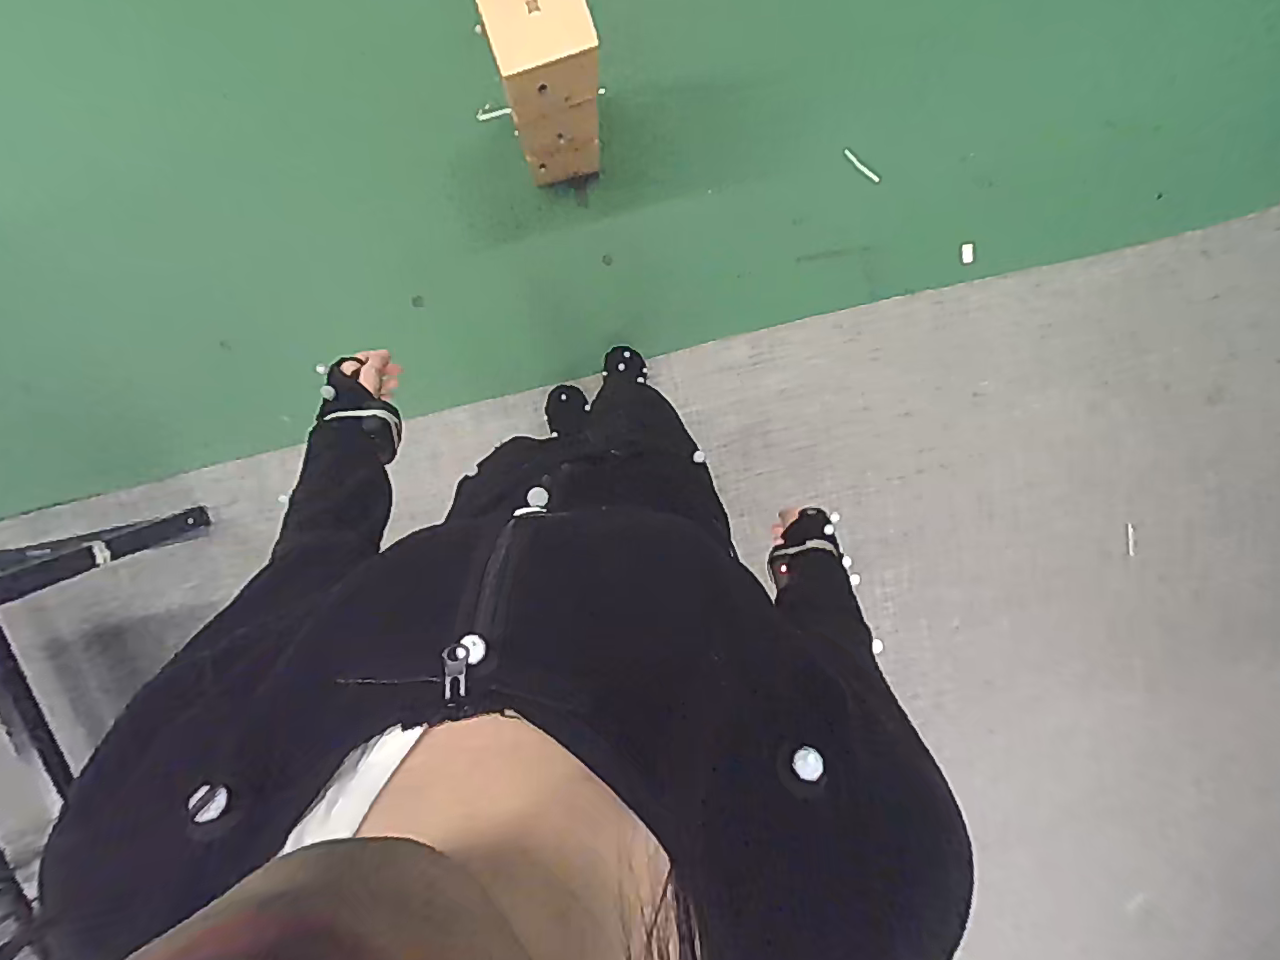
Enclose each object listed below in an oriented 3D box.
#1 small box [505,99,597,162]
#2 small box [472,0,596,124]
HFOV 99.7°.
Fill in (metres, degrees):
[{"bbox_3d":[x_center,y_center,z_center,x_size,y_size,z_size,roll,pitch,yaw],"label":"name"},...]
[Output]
[{"bbox_3d":[-0.190,-0.785,1.094,0.168,0.176,0.179,-17,101,0],"label":"small box"},{"bbox_3d":[-0.177,-0.753,0.935,0.168,0.176,0.179,-19,100,0],"label":"small box"}]
